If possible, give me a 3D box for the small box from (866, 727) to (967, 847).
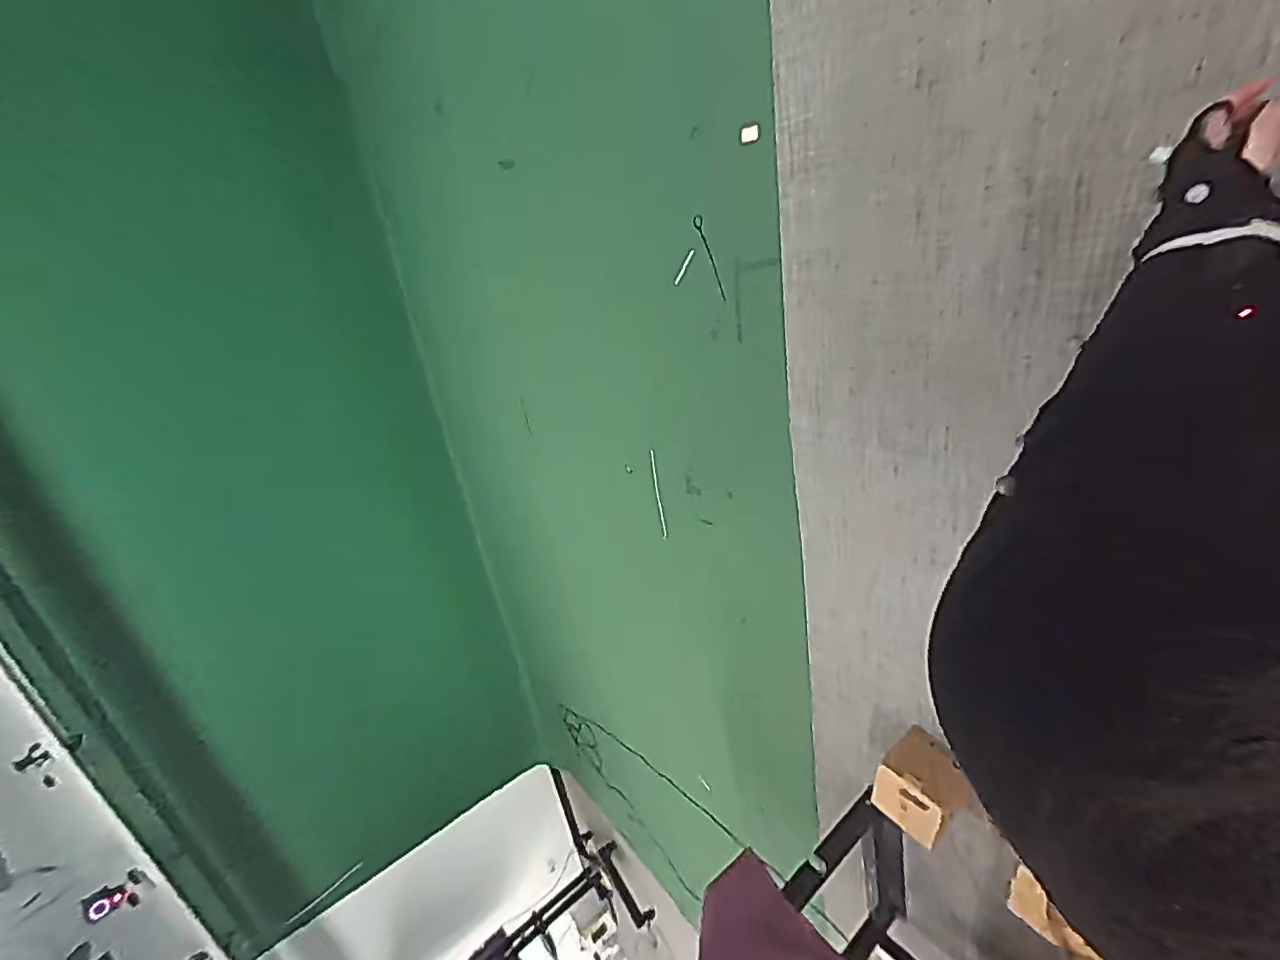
[{"bbox_3d":[0.719,0.787,1.405,0.168,0.176,0.179,29,134,45],"label":"small box"}]
